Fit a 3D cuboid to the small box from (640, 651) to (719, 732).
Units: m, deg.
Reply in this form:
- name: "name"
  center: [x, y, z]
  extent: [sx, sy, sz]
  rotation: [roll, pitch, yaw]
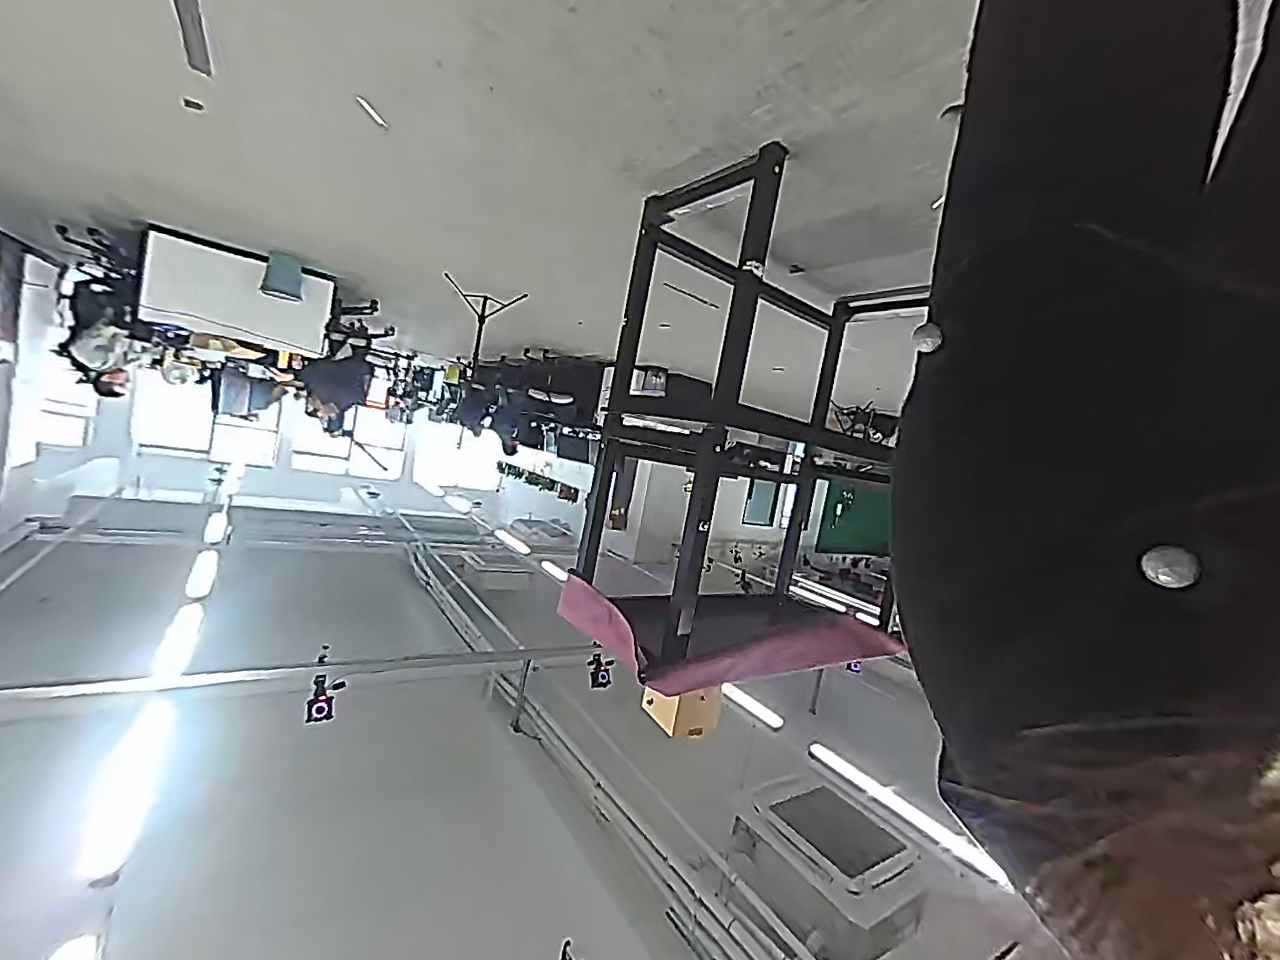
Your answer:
- name: "small box"
  center: [0.123, 0.637, 1.653]
  extent: [0.168, 0.176, 0.179]
  rotation: [6, -174, -31]
